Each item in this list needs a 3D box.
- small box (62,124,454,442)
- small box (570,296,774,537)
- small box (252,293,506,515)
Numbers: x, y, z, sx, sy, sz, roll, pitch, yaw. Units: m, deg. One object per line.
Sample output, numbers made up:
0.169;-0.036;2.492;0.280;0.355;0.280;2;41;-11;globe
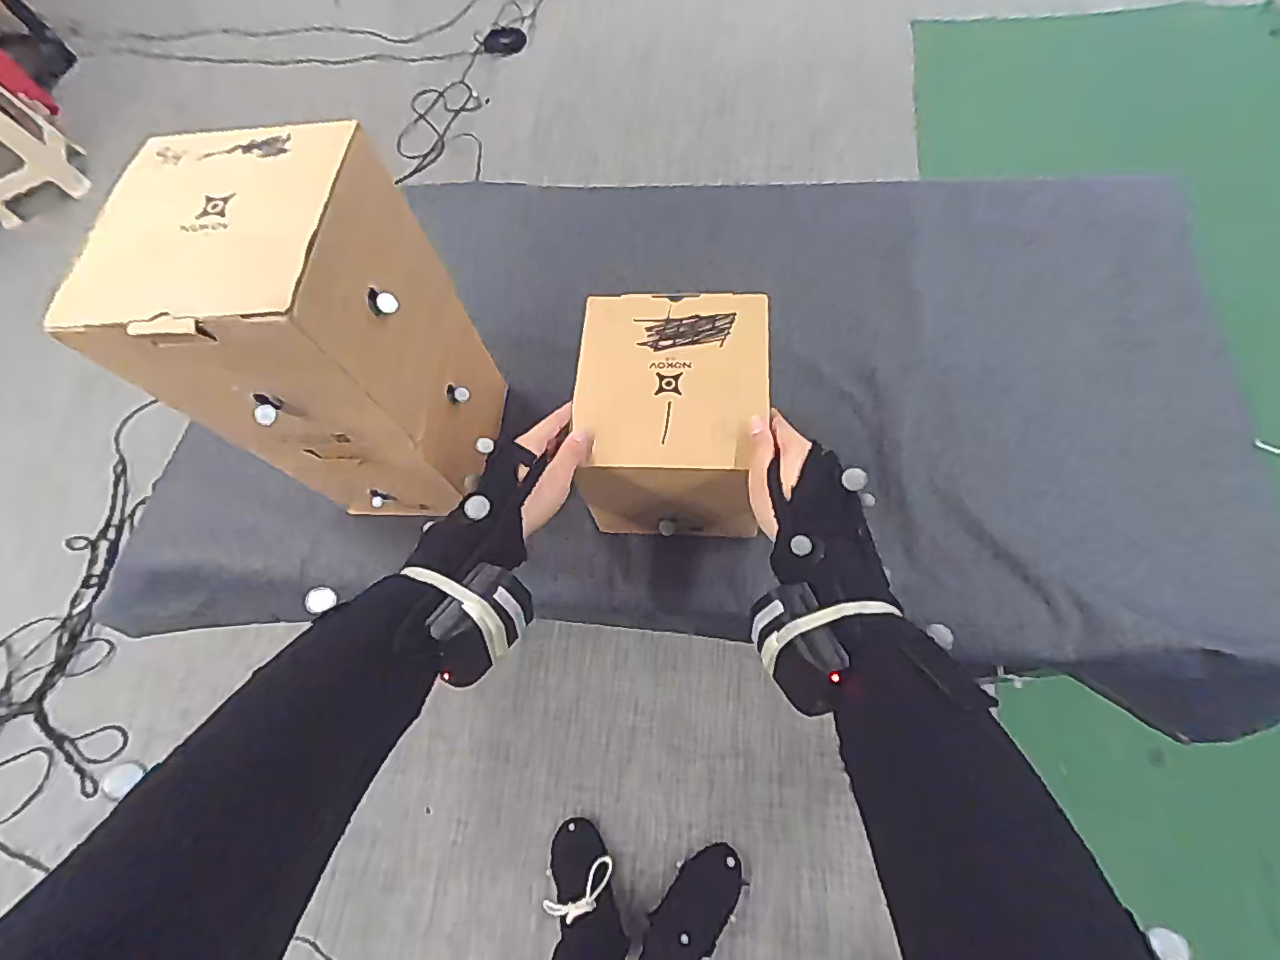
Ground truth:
-0.267;-0.138;0.430;0.168;0.176;0.179;-1;67;6;small box
0.039;-0.056;0.534;0.168;0.176;0.179;1;66;8;small box
-0.255;-0.074;0.580;0.168;0.176;0.179;0;66;7;small box
